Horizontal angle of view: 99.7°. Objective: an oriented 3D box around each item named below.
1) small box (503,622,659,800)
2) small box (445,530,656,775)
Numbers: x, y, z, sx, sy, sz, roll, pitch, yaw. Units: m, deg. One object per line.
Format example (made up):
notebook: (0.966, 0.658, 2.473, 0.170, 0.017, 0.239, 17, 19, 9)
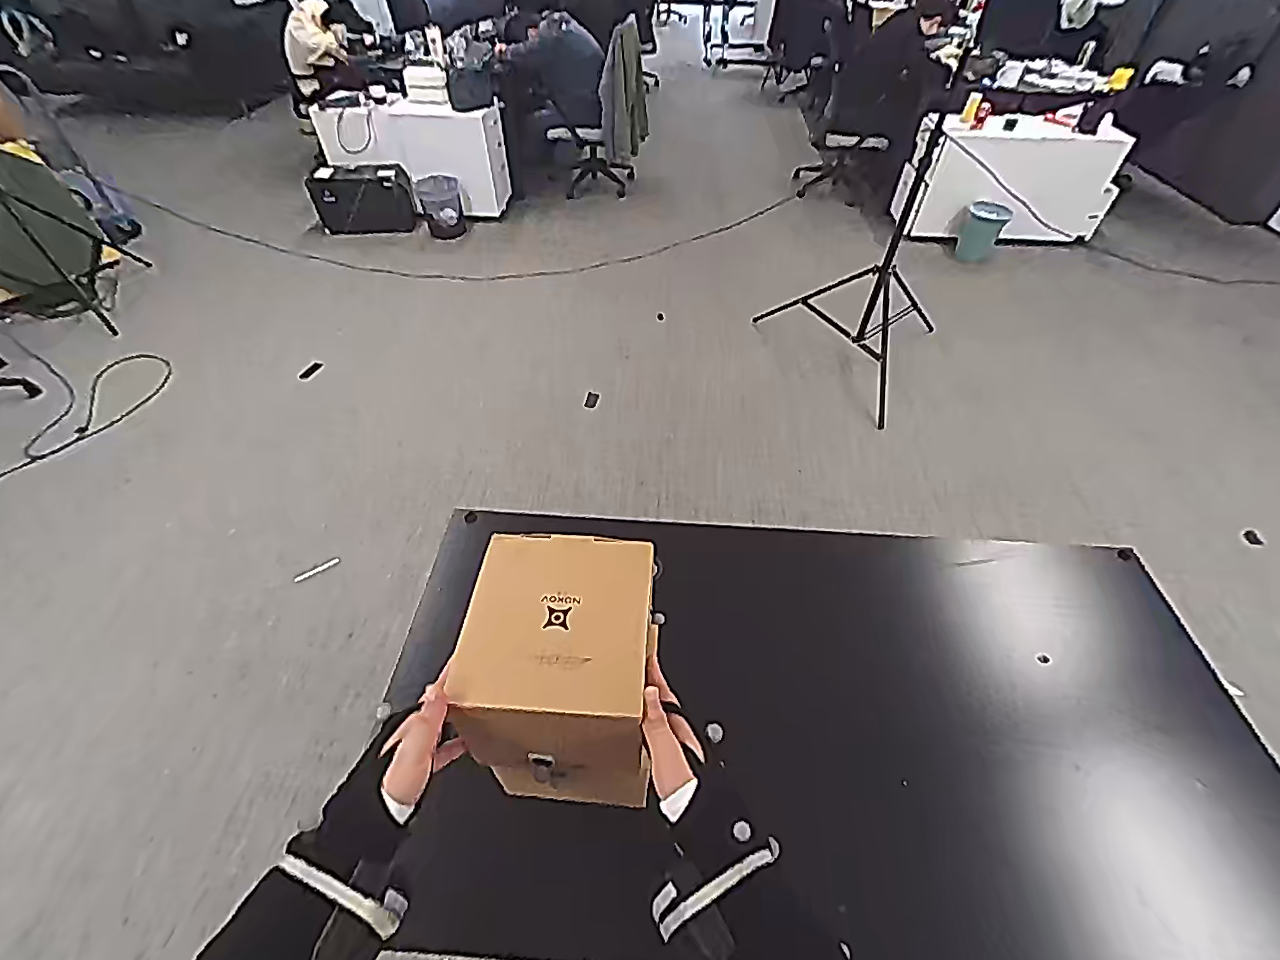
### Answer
small box: (-0.071, 0.284, 0.676, 0.179, 0.176, 0.168, 4, 48, 2)
small box: (-0.073, 0.173, 0.548, 0.168, 0.176, 0.179, 3, 46, 2)
